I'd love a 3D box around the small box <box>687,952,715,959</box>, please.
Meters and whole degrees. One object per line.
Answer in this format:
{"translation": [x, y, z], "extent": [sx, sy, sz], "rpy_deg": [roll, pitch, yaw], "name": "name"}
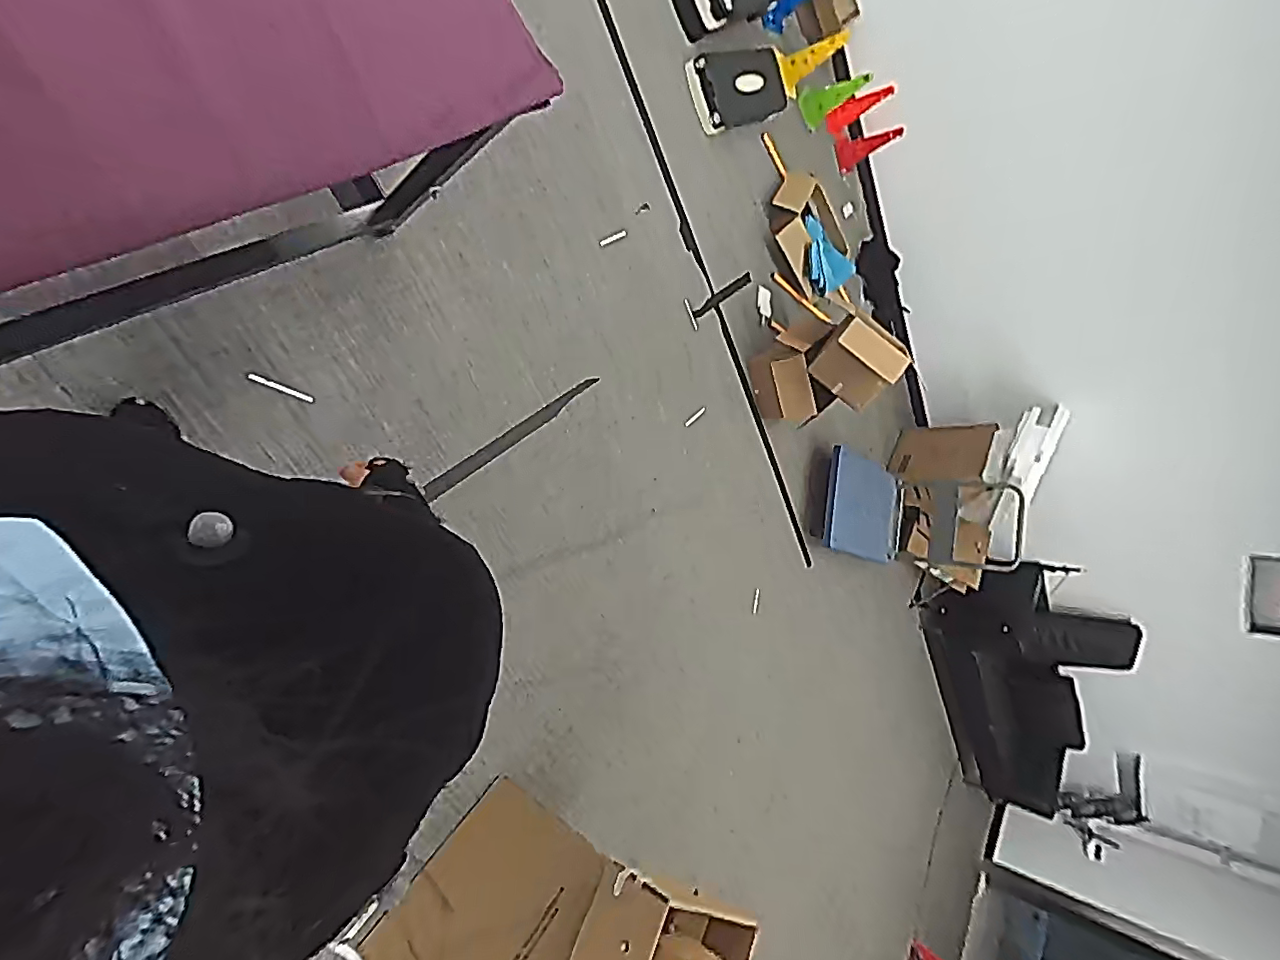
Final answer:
{"translation": [0.163, 1.085, 1.058], "extent": [0.168, 0.176, 0.179], "rpy_deg": [48, 58, -32], "name": "small box"}
